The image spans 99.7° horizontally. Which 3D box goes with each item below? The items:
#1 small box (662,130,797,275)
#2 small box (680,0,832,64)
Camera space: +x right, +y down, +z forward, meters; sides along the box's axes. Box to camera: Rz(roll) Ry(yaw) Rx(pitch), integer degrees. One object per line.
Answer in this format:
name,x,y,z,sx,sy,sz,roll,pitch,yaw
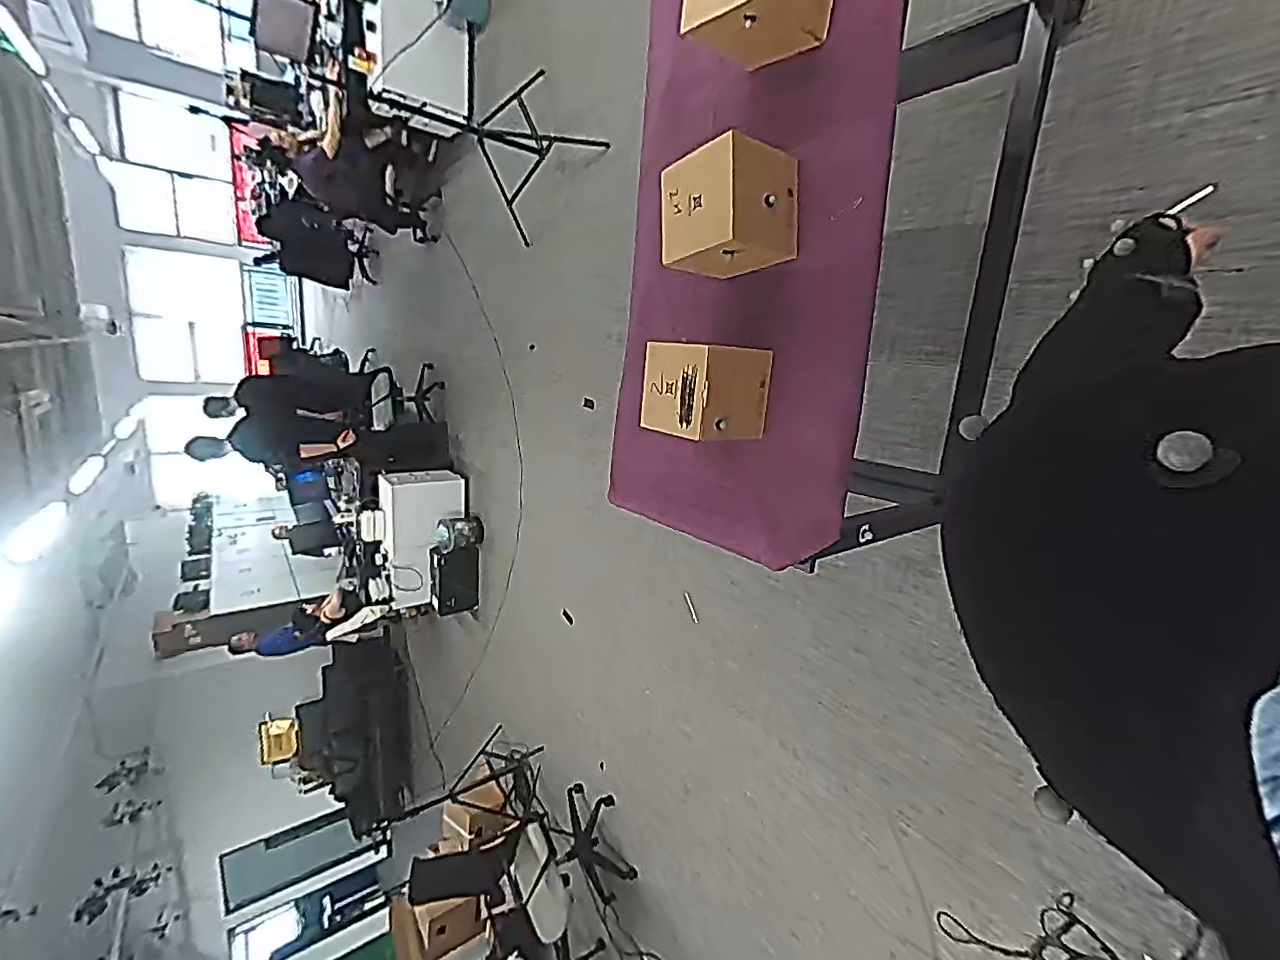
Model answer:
small box,0.158,-0.472,0.951,0.179,0.176,0.168,7,100,53
small box,0.192,-0.804,0.861,0.179,0.176,0.168,28,117,50
